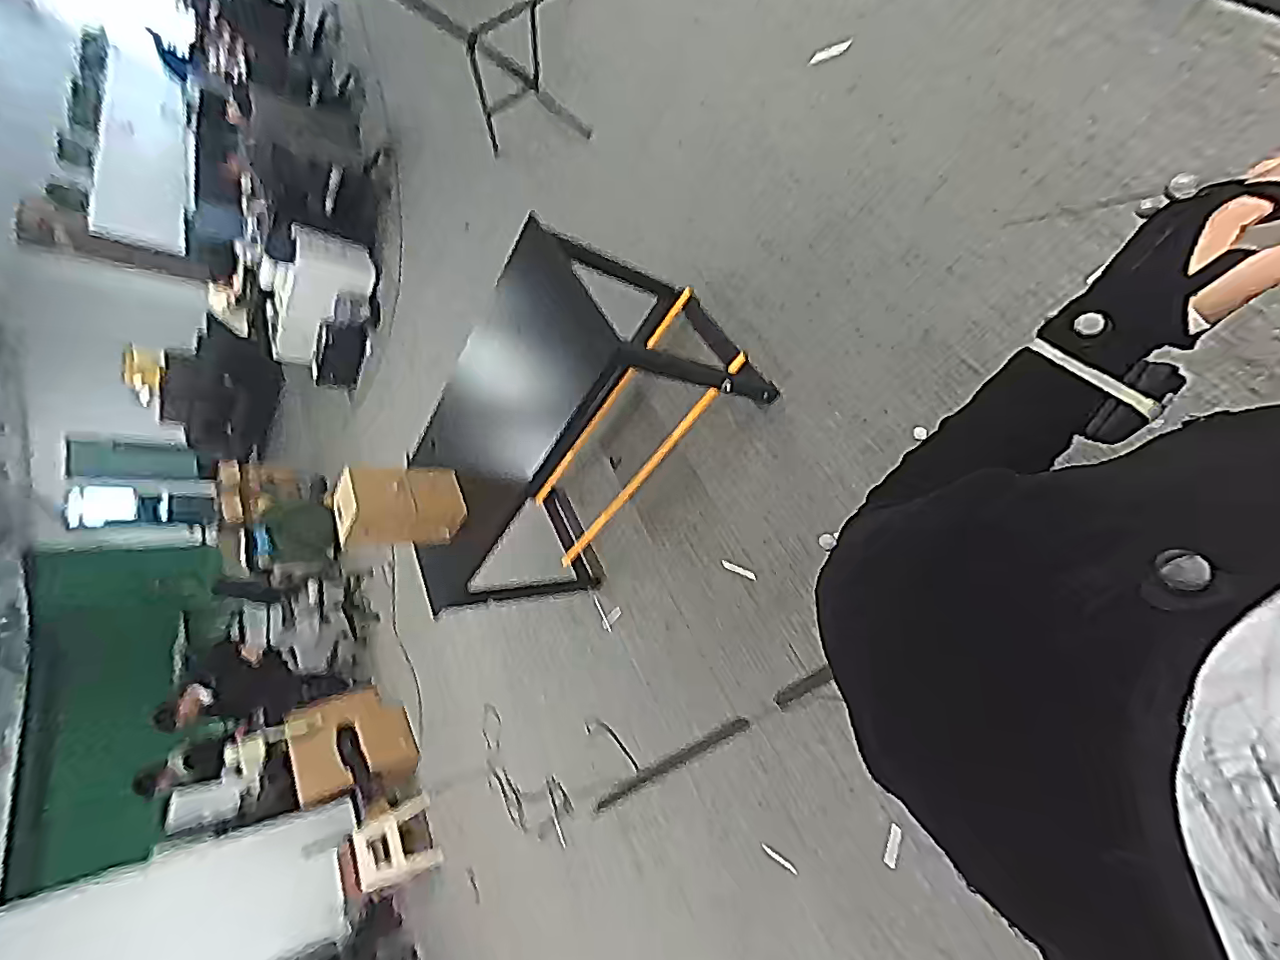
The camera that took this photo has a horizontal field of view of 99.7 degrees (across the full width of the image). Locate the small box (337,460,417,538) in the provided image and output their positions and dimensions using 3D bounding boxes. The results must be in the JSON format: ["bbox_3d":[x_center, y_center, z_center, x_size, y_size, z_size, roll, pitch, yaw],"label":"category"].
[{"bbox_3d":[-0.794,0.060,1.634,0.179,0.176,0.168,-50,54,31],"label":"small box"}]

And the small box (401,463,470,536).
[{"bbox_3d":[-0.677,0.066,1.749,0.168,0.176,0.179,-50,55,33],"label":"small box"}]
